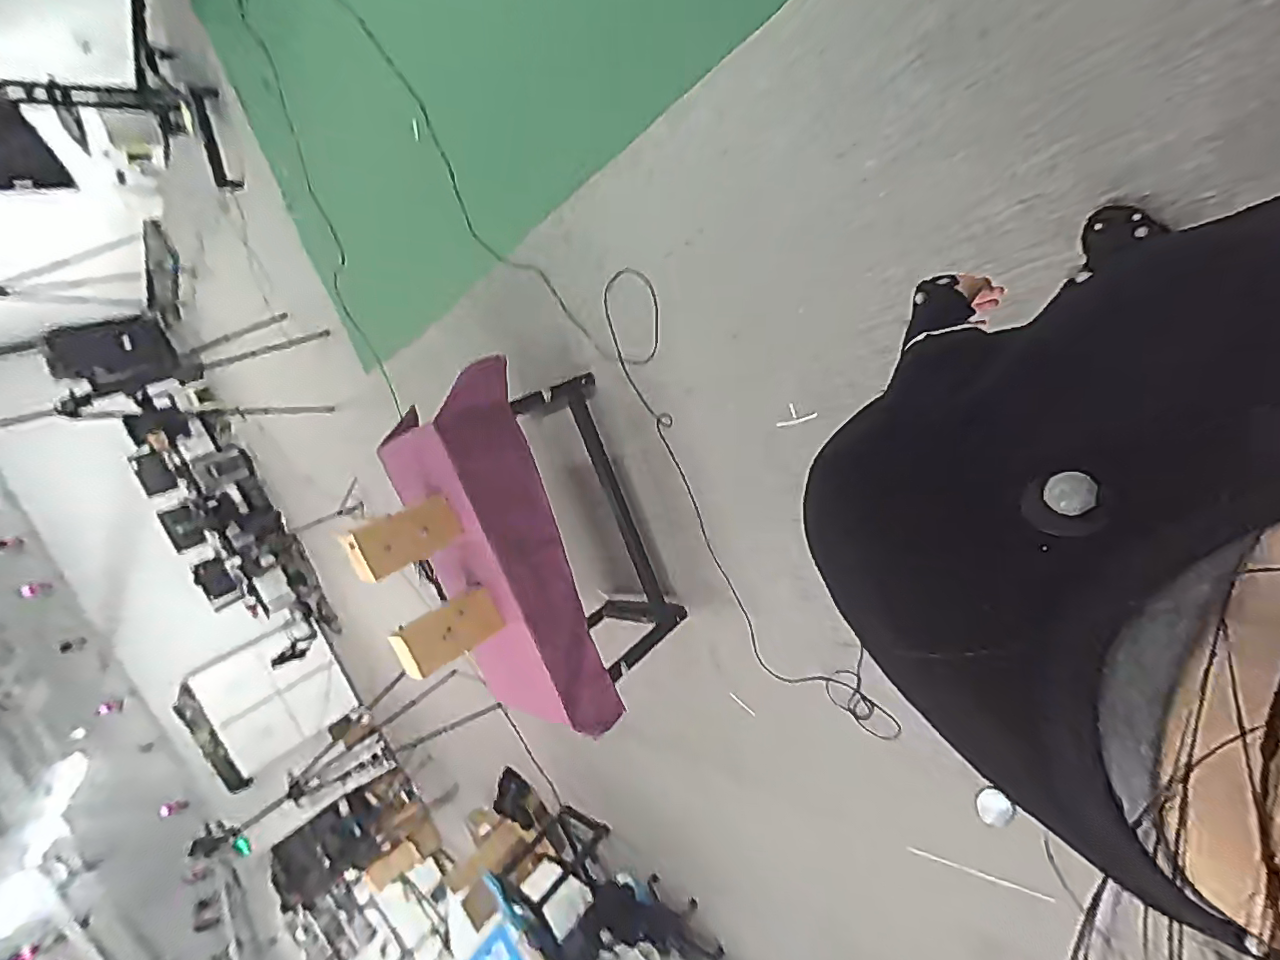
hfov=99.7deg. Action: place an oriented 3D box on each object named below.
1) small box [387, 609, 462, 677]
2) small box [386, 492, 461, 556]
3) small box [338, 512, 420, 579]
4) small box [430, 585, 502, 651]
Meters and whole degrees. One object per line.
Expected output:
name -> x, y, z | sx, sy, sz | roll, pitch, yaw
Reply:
small box -> -0.761, 0.569, 1.912 | 0.179, 0.176, 0.168 | -15, 101, 49
small box -> -0.769, 0.157, 1.933 | 0.168, 0.176, 0.179 | -8, 106, 47
small box -> -0.877, 0.215, 1.823 | 0.168, 0.176, 0.179 | -9, 107, 46
small box -> -0.643, 0.511, 2.013 | 0.168, 0.176, 0.179 | -15, 100, 49
